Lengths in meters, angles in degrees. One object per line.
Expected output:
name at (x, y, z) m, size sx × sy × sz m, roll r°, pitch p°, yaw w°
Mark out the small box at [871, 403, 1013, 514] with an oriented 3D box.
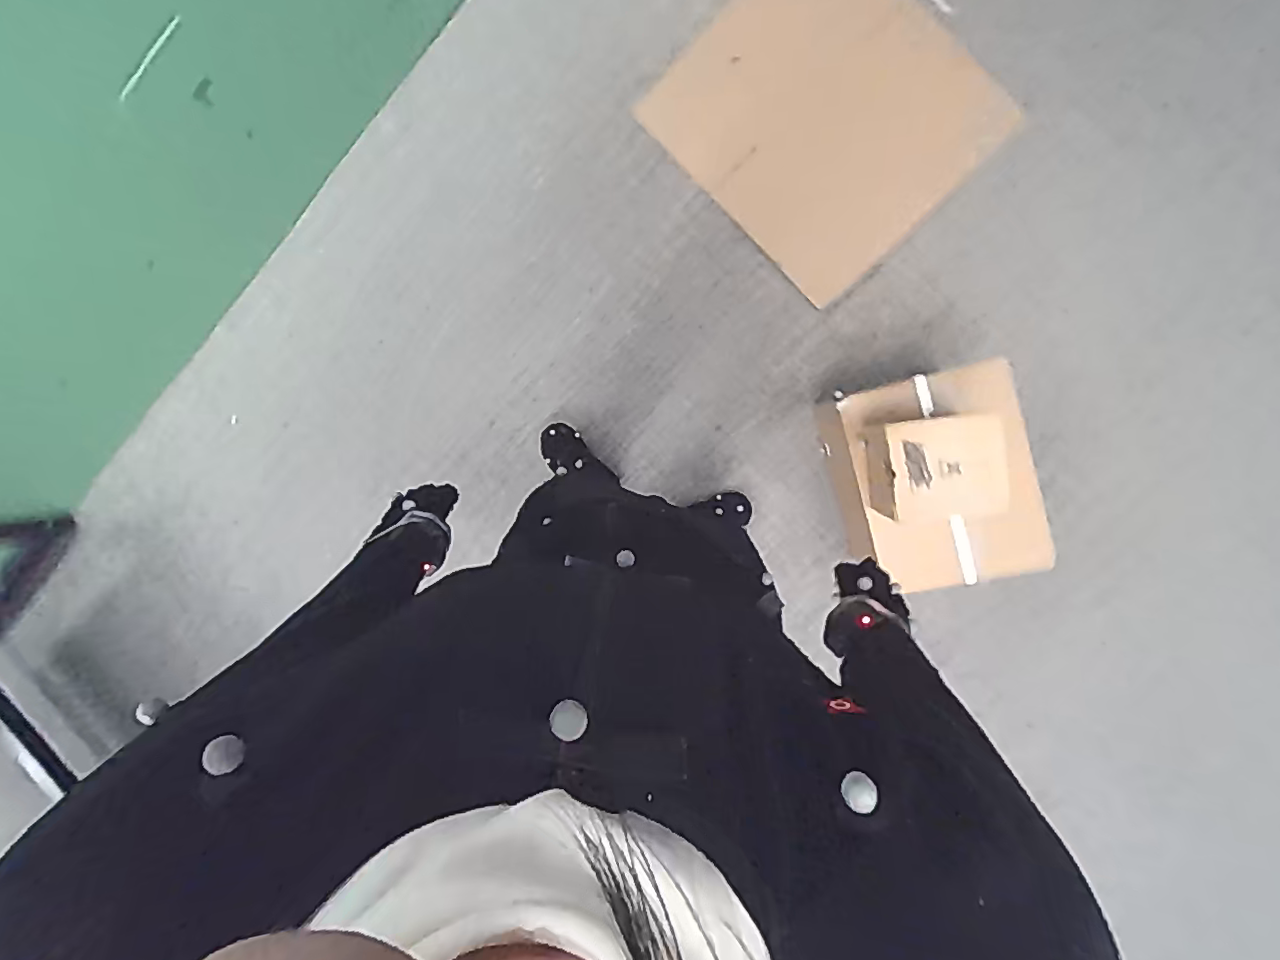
small box at (0.513, -0.038, 0.946) m, size 0.179 × 0.176 × 0.168 m, roll -7°, pitch 94°, yaw 11°
